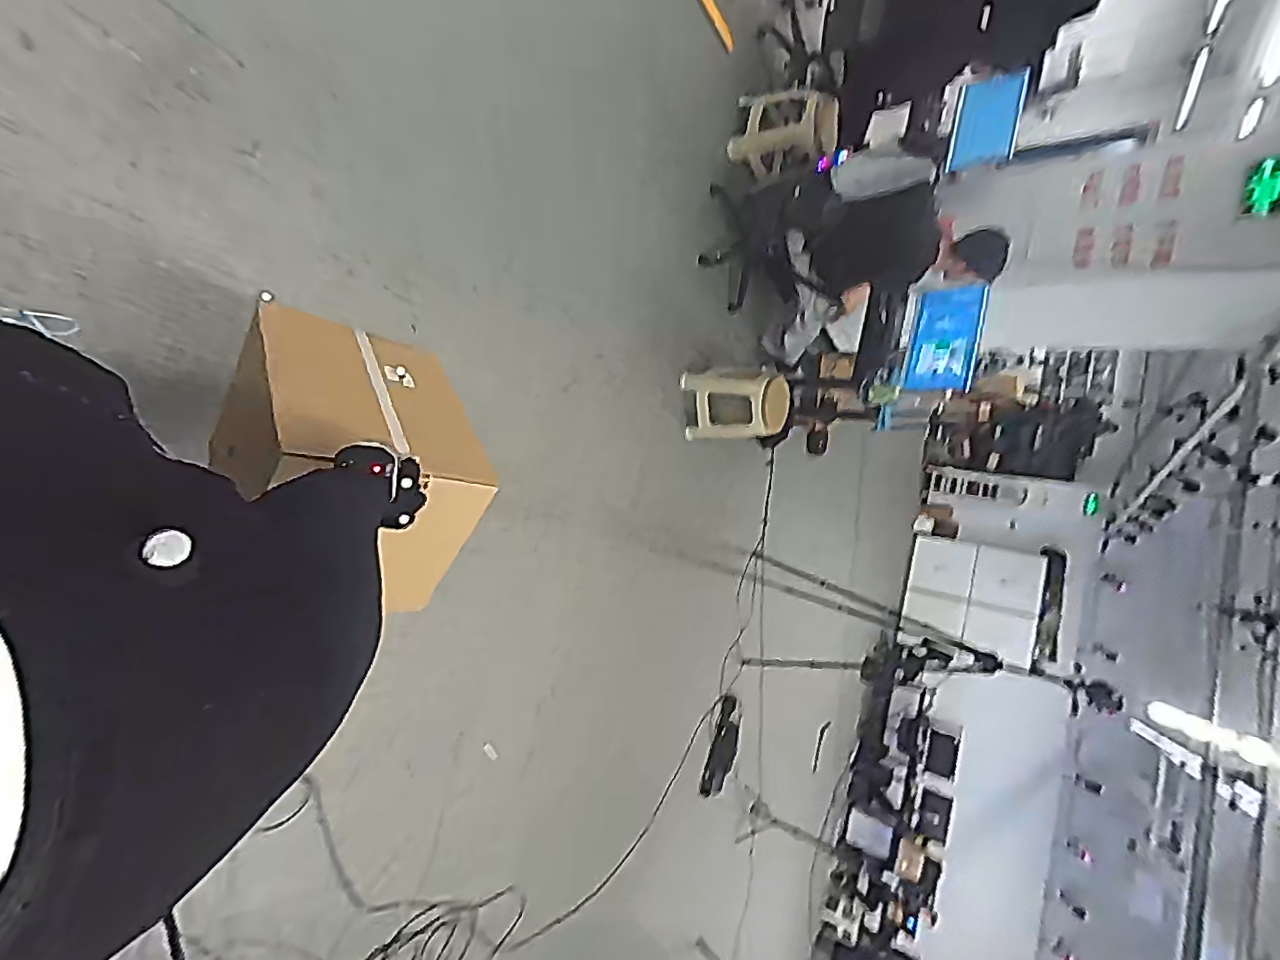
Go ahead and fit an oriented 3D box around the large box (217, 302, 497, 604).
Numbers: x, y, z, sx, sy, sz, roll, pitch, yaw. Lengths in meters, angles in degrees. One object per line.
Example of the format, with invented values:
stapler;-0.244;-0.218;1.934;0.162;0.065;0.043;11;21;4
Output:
large box;-0.515;-0.037;0.951;0.320;0.408;0.320;12;122;-47
